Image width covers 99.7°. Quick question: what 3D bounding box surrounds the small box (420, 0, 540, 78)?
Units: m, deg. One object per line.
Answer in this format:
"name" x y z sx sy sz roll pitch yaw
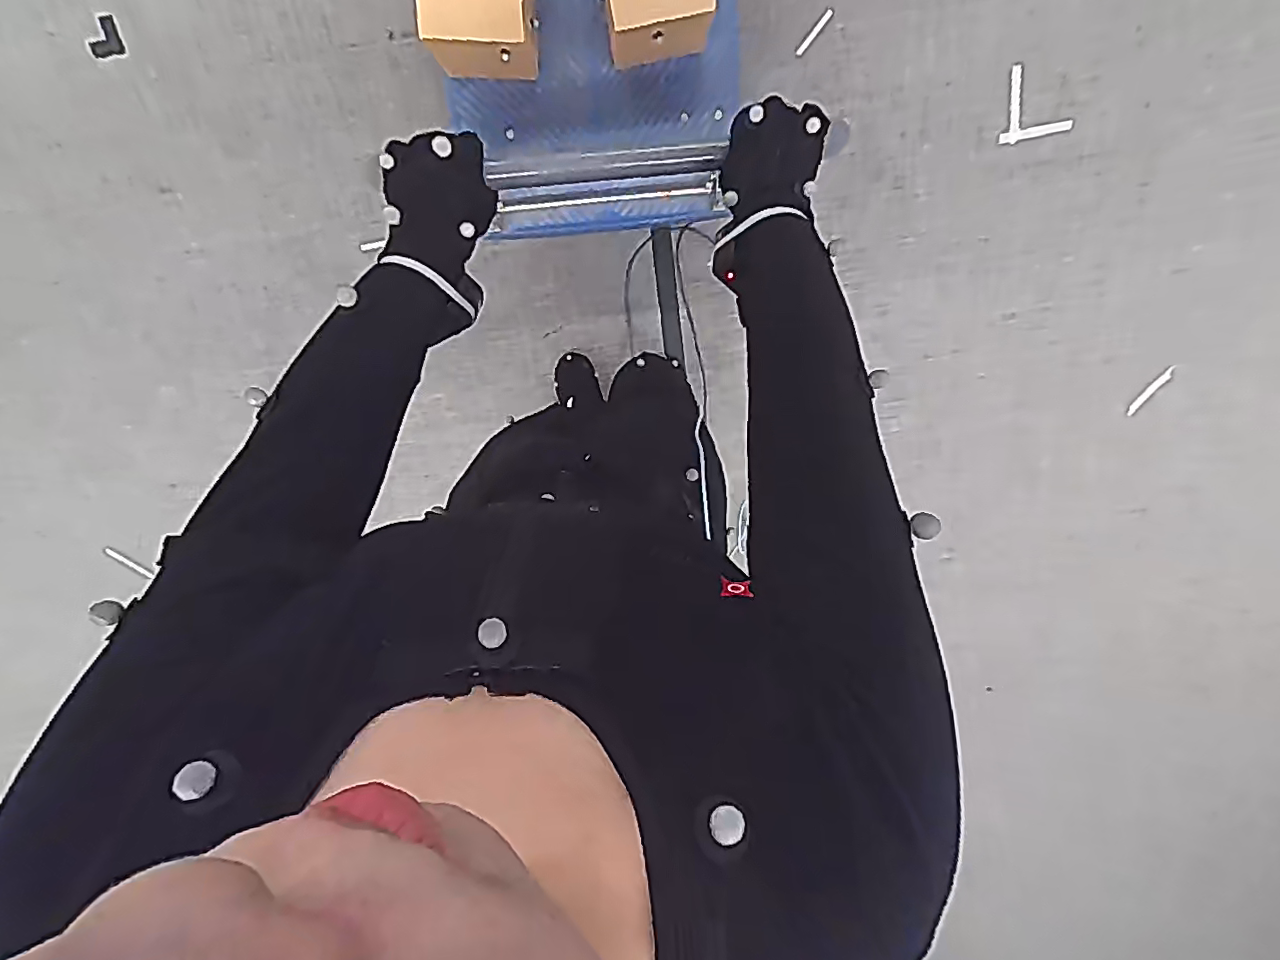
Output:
"small box" -0.276 -0.833 0.949 0.179 0.176 0.168 -1 110 -4

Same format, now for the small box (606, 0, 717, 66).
"small box" 0.028 -0.866 0.952 0.179 0.176 0.168 -11 110 1
